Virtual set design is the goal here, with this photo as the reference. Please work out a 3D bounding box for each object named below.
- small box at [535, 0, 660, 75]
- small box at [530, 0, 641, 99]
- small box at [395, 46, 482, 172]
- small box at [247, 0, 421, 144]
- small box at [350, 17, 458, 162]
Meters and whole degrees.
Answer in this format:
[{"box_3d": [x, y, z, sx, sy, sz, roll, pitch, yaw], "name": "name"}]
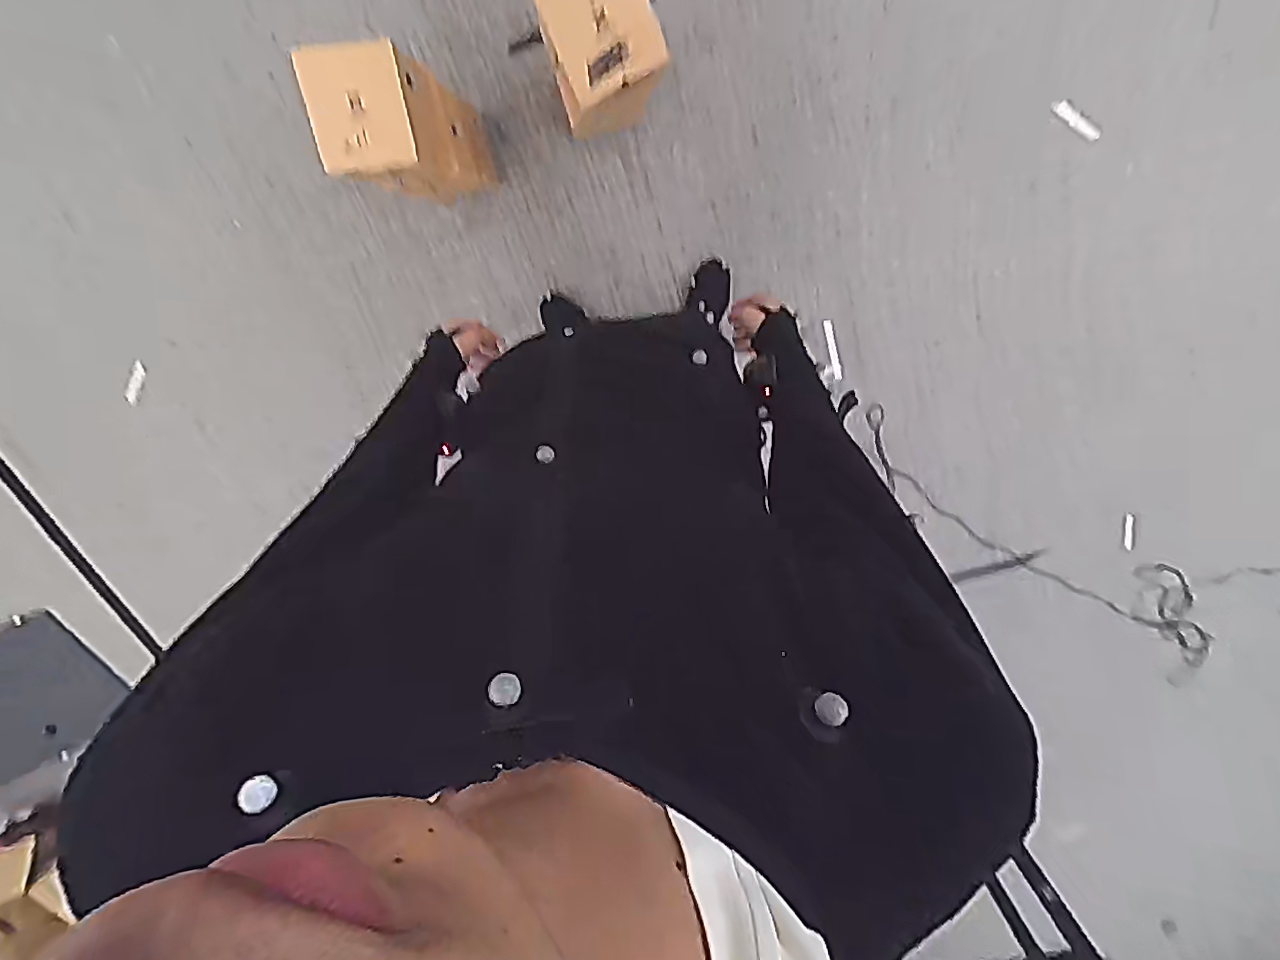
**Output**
[{"box_3d": [-0.081, -0.776, 0.849, 0.168, 0.176, 0.179, -25, 114, 8], "name": "small box"}, {"box_3d": [-0.104, -0.846, 0.998, 0.168, 0.176, 0.179, -18, 114, 5], "name": "small box"}, {"box_3d": [-0.466, -0.797, 1.180, 0.168, 0.176, 0.179, -14, 114, 4], "name": "small box"}, {"box_3d": [-0.482, -0.667, 0.880, 0.168, 0.176, 0.179, -6, 115, 1], "name": "small box"}, {"box_3d": [-0.470, -0.731, 1.032, 0.168, 0.176, 0.179, -11, 115, 3], "name": "small box"}]
